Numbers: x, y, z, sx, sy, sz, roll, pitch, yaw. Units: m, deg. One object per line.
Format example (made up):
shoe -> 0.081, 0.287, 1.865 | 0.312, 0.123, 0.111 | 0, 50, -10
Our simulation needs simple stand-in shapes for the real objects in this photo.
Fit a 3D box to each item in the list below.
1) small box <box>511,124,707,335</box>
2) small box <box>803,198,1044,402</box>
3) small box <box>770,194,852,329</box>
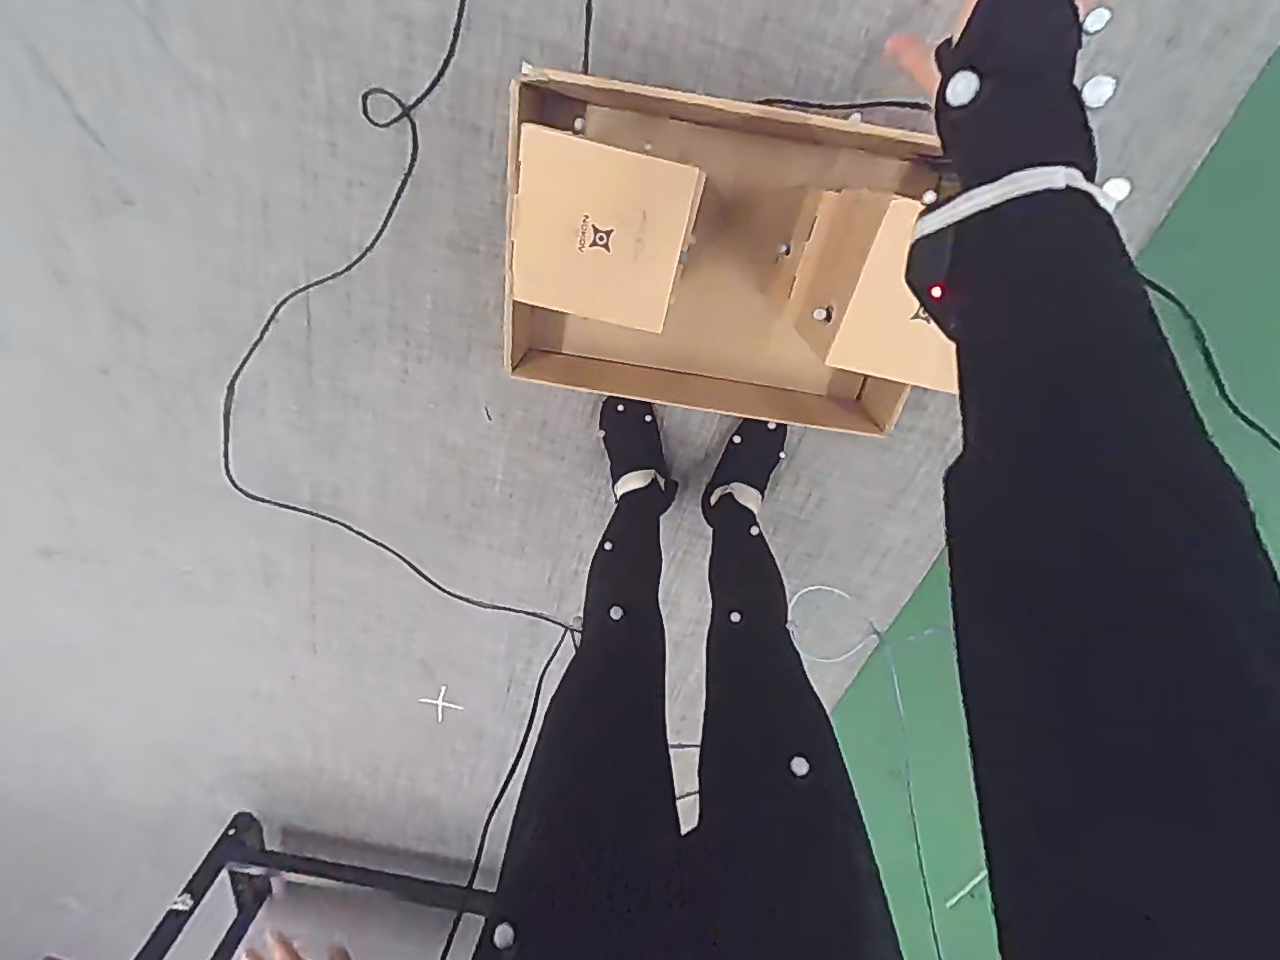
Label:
small box -> -0.034, -0.286, 0.622 | 0.179, 0.176, 0.168 | 13, 120, -5
small box -> 0.309, -0.218, 0.640 | 0.168, 0.176, 0.179 | 12, 118, -5
small box -> 0.303, -0.302, 0.783 | 0.179, 0.176, 0.168 | 13, 119, -3
